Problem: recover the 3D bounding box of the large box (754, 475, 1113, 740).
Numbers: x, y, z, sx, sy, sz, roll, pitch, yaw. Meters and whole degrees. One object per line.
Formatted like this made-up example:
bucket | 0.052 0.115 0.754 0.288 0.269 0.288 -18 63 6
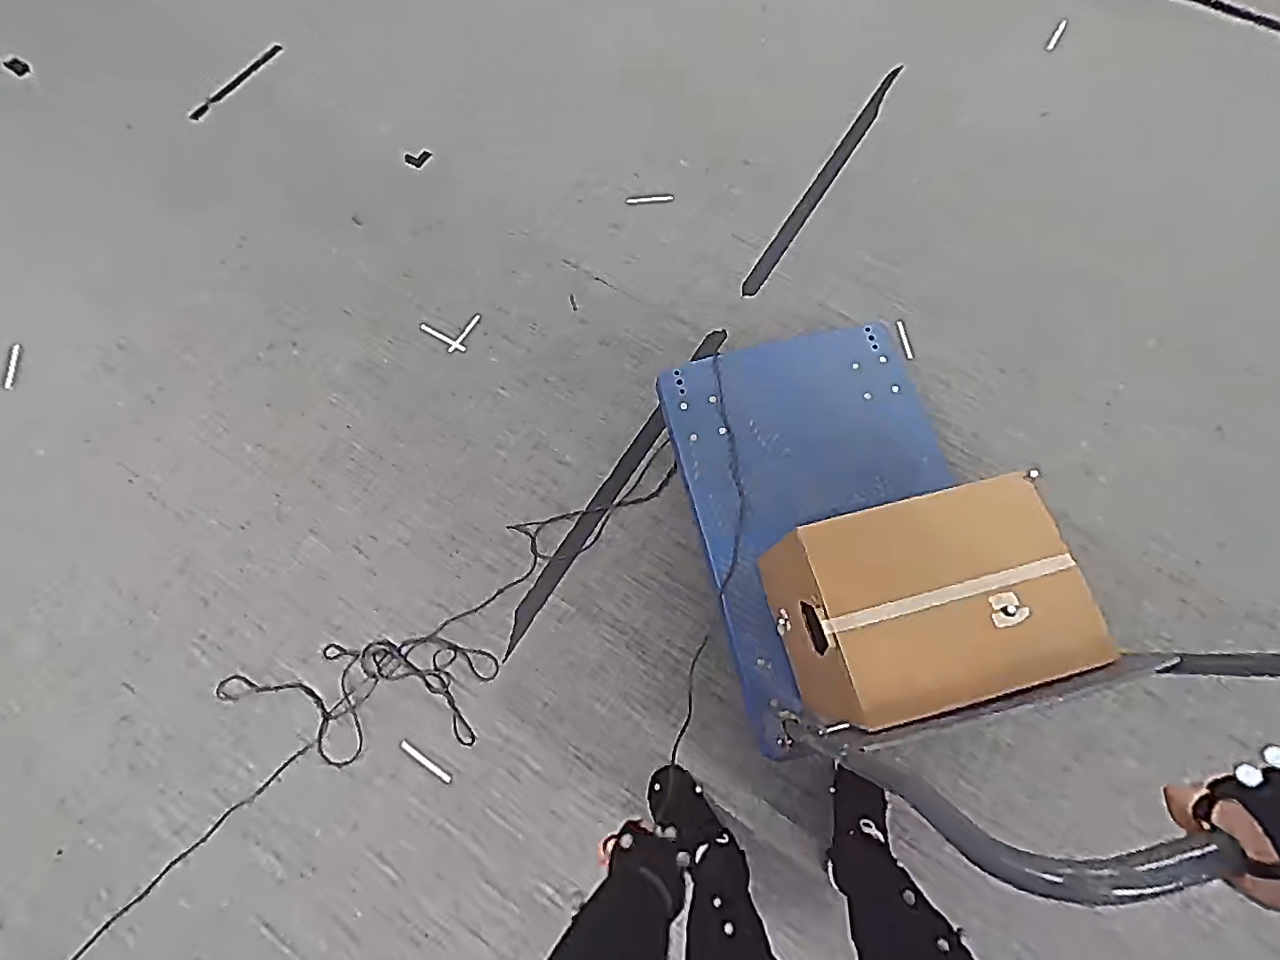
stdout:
large box | 0.468 0.227 0.964 0.408 0.320 0.320 -14 73 -5
